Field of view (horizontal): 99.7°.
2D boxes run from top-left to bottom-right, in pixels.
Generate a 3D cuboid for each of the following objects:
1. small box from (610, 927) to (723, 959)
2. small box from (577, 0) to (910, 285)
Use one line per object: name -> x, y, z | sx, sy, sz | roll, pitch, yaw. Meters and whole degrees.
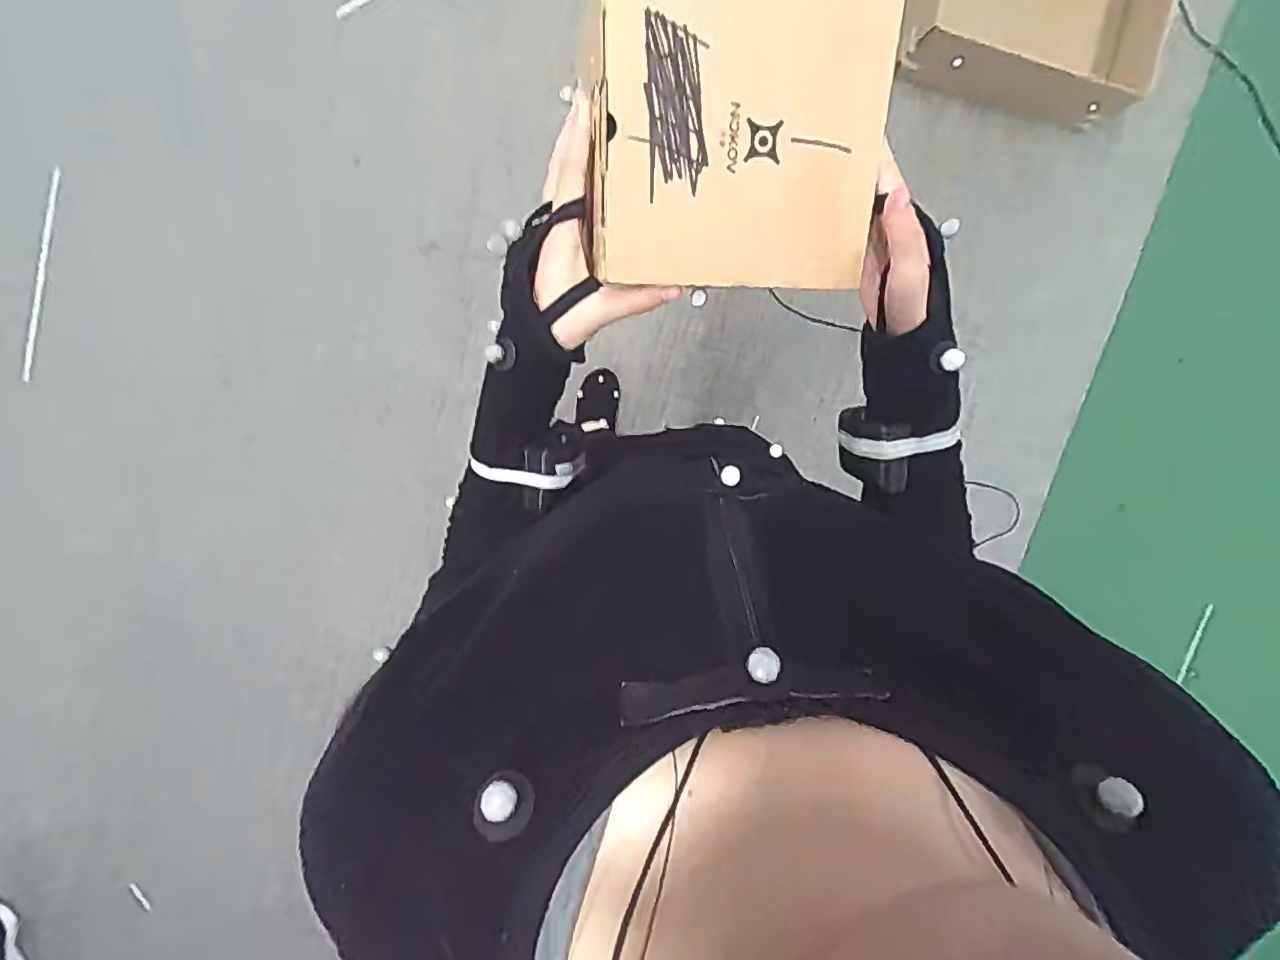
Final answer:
small box -> 0.040, 0.817, 0.800 | 0.179, 0.176, 0.168 | 22, 94, -12
small box -> 0.048, -0.230, 0.383 | 0.179, 0.176, 0.168 | -2, 110, -13
